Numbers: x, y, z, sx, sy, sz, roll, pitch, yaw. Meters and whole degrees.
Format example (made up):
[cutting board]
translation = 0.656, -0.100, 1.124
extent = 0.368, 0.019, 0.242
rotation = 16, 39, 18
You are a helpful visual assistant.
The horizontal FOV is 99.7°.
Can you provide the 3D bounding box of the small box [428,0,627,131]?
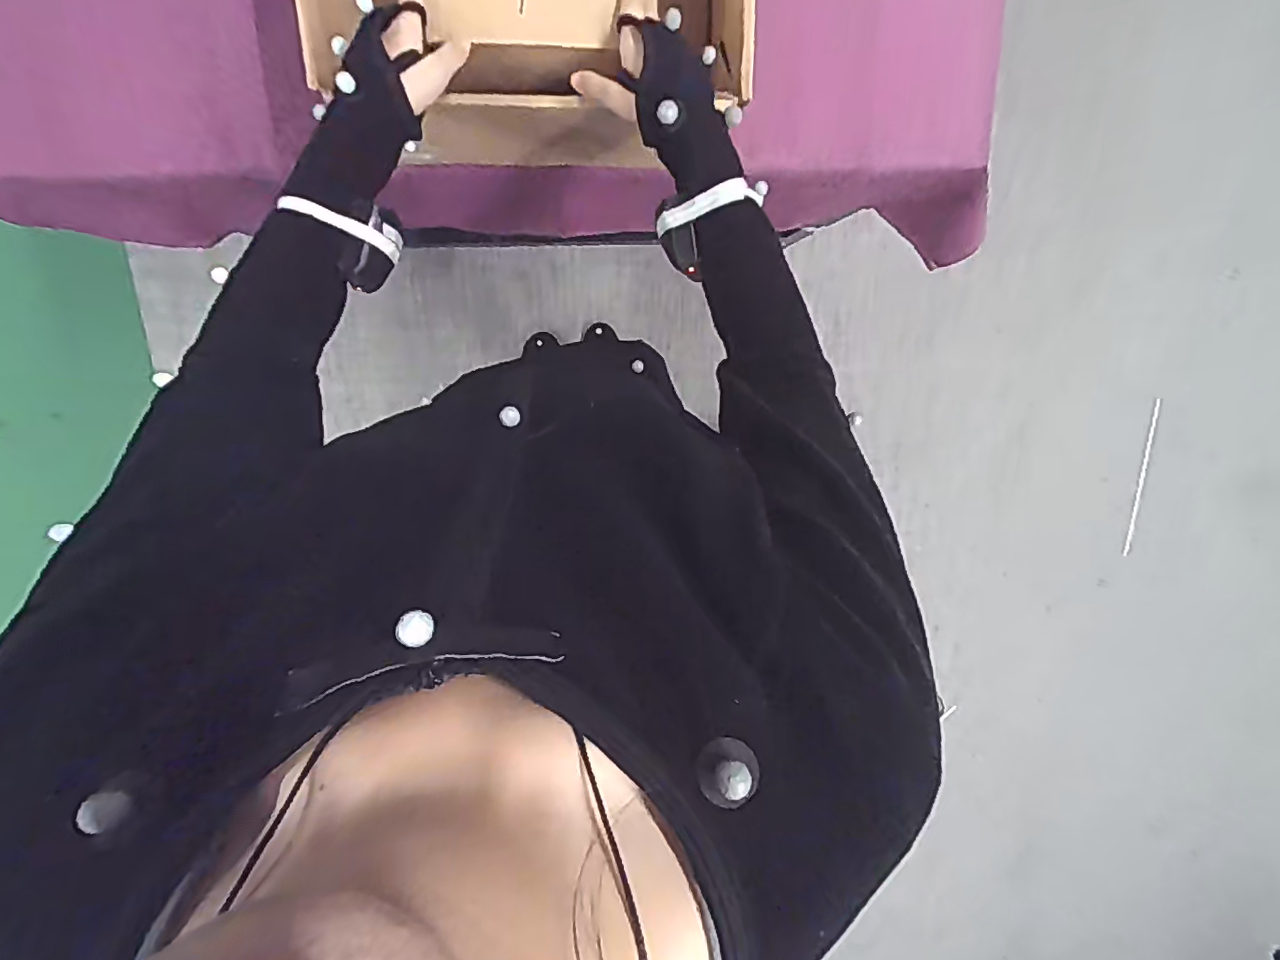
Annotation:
[small box]
translation = -0.098, -0.464, 0.513
extent = 0.168, 0.176, 0.179
rotation = 0, 105, -4
